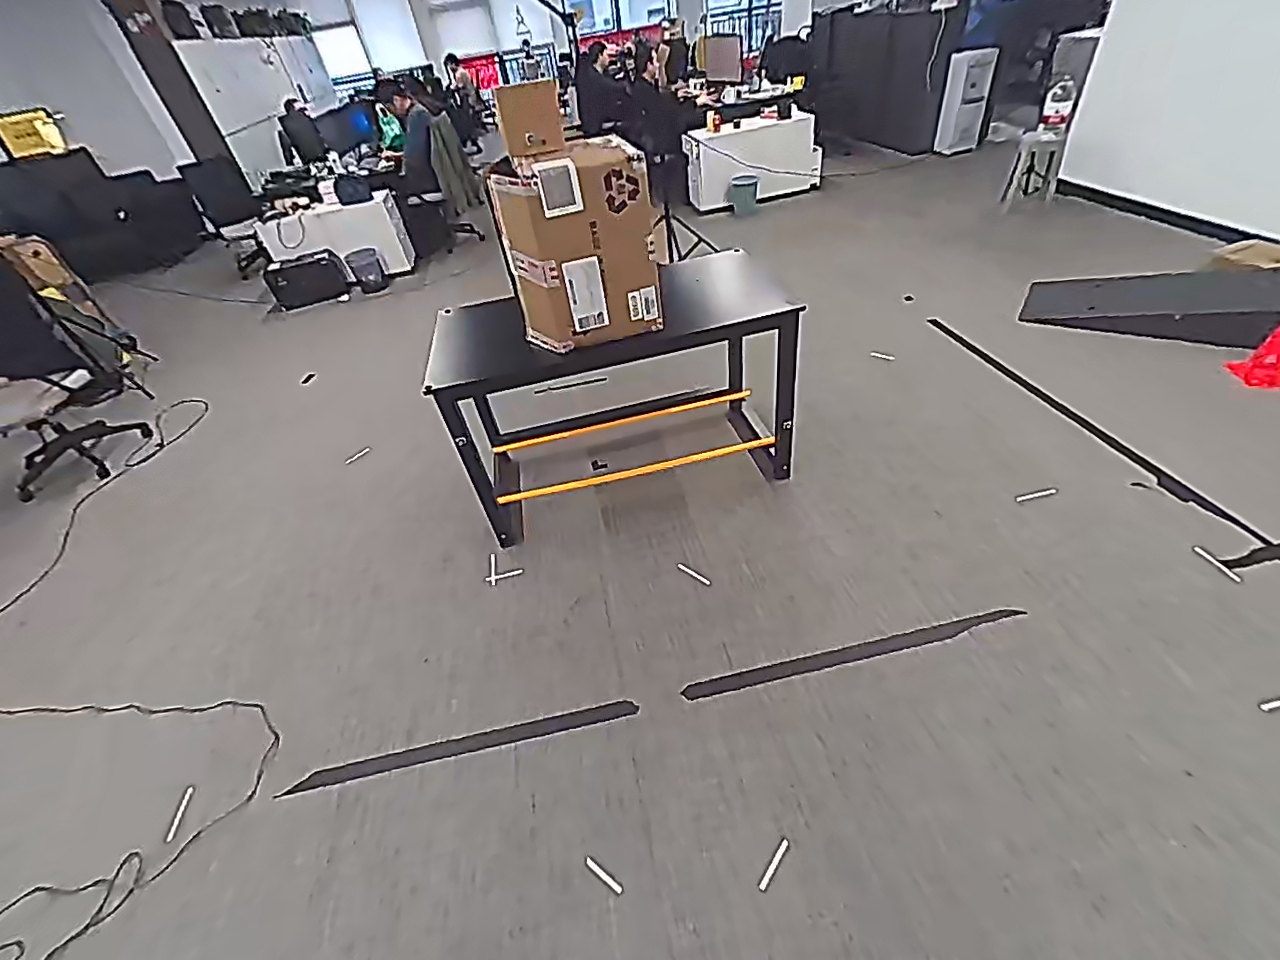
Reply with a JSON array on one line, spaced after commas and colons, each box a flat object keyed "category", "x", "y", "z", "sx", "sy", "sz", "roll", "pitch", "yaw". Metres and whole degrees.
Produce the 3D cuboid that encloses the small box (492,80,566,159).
[{"category": "small box", "x": -0.319, "y": -1.036, "z": 1.556, "sx": 0.168, "sy": 0.176, "sz": 0.179, "roll": -16, "pitch": 39, "yaw": -8}]
